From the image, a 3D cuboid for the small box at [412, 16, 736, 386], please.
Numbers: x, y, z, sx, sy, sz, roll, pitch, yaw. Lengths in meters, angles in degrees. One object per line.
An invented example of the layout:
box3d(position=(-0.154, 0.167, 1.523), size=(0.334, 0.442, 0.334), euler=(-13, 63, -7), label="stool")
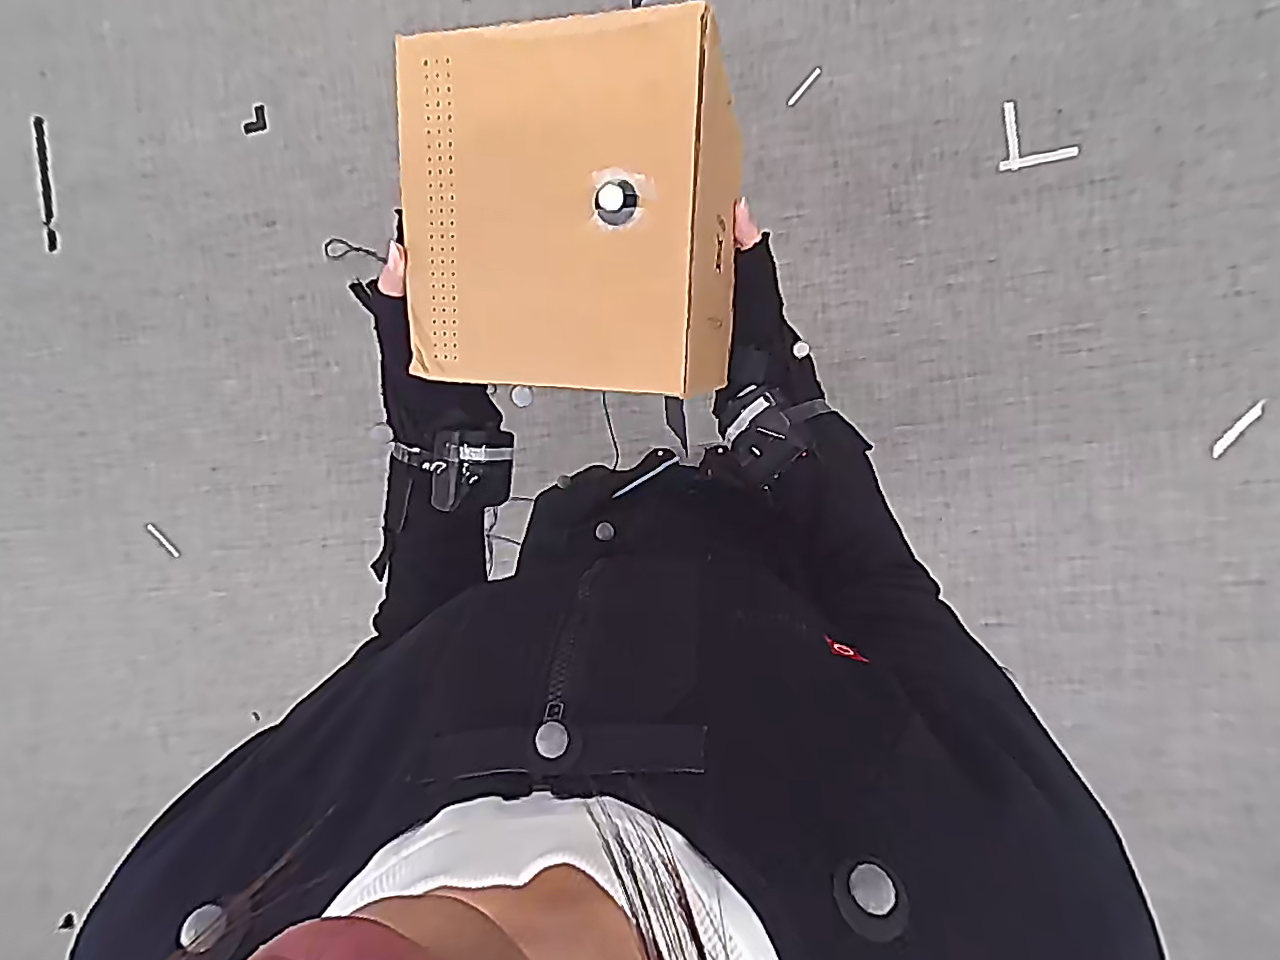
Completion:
box3d(position=(-0.033, -0.155, 0.363), size=(0.176, 0.168, 0.179), euler=(6, 102, 15), label="small box")
